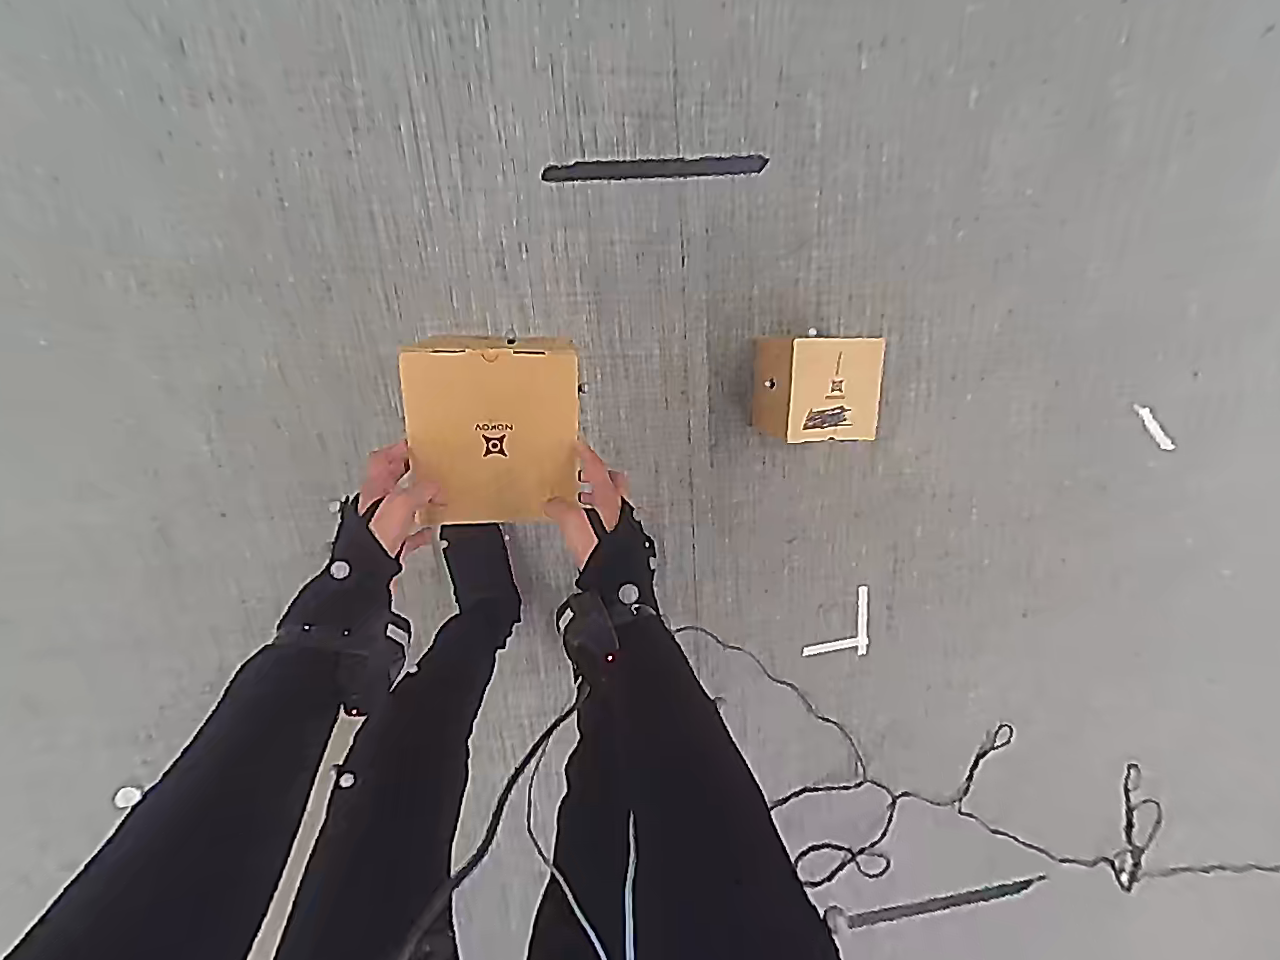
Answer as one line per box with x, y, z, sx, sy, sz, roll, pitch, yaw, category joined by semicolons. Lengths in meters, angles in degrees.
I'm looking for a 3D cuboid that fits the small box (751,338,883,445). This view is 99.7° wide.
0.309;-0.165;0.981;0.168;0.176;0.179;-2;104;-9;small box

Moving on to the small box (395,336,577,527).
-0.154;-0.061;0.596;0.168;0.176;0.179;-1;108;-9;small box
